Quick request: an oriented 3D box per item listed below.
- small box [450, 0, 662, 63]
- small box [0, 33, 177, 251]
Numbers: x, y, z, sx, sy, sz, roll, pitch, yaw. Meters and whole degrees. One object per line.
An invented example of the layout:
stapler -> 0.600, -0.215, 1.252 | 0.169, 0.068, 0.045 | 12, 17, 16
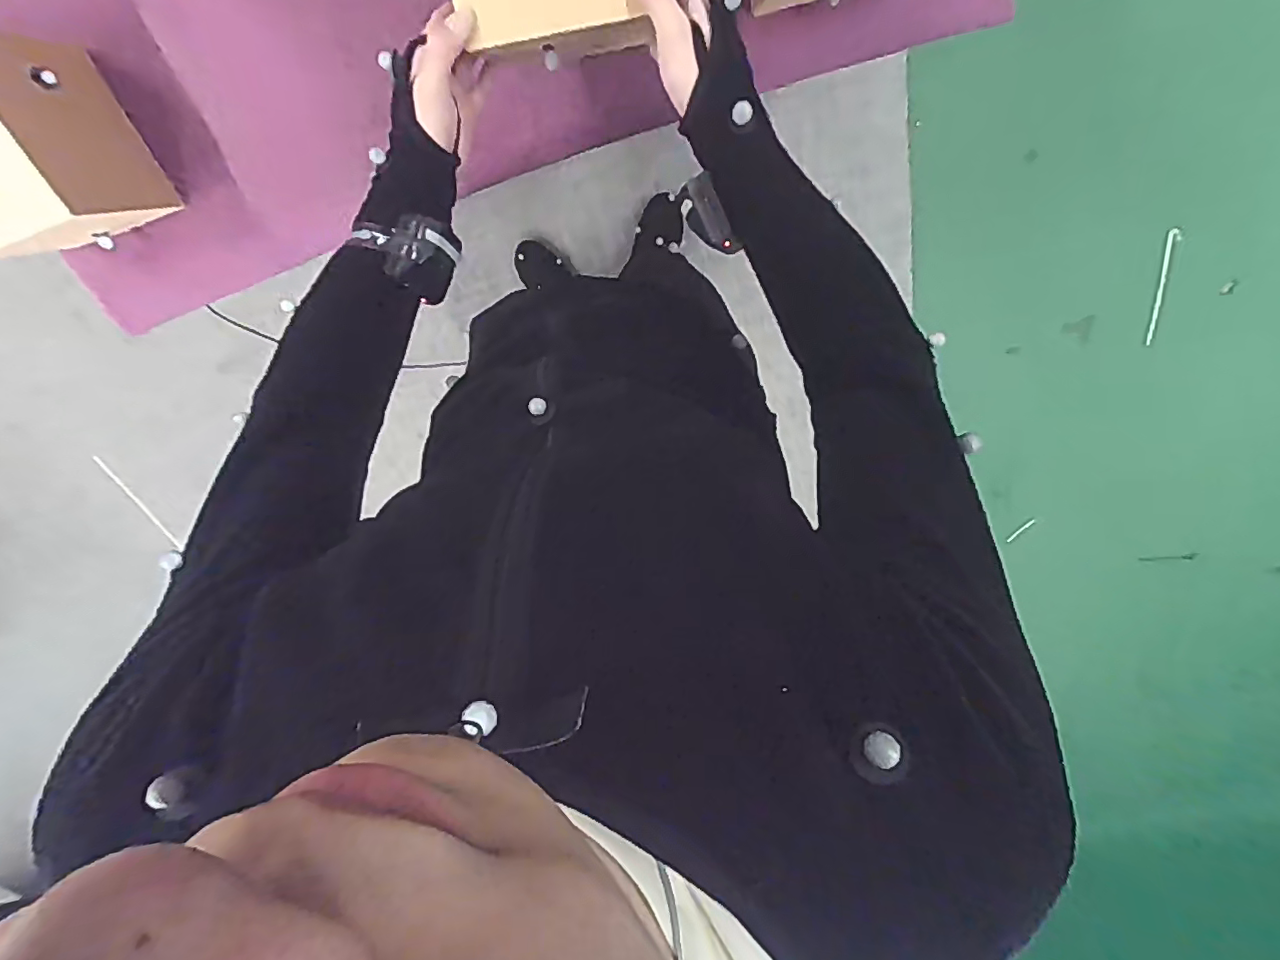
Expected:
small box -> -0.074, -0.467, 0.447 | 0.168, 0.176, 0.179 | -8, 122, 3
small box -> -0.696, -0.369, 0.604 | 0.168, 0.176, 0.179 | -15, 119, 8
